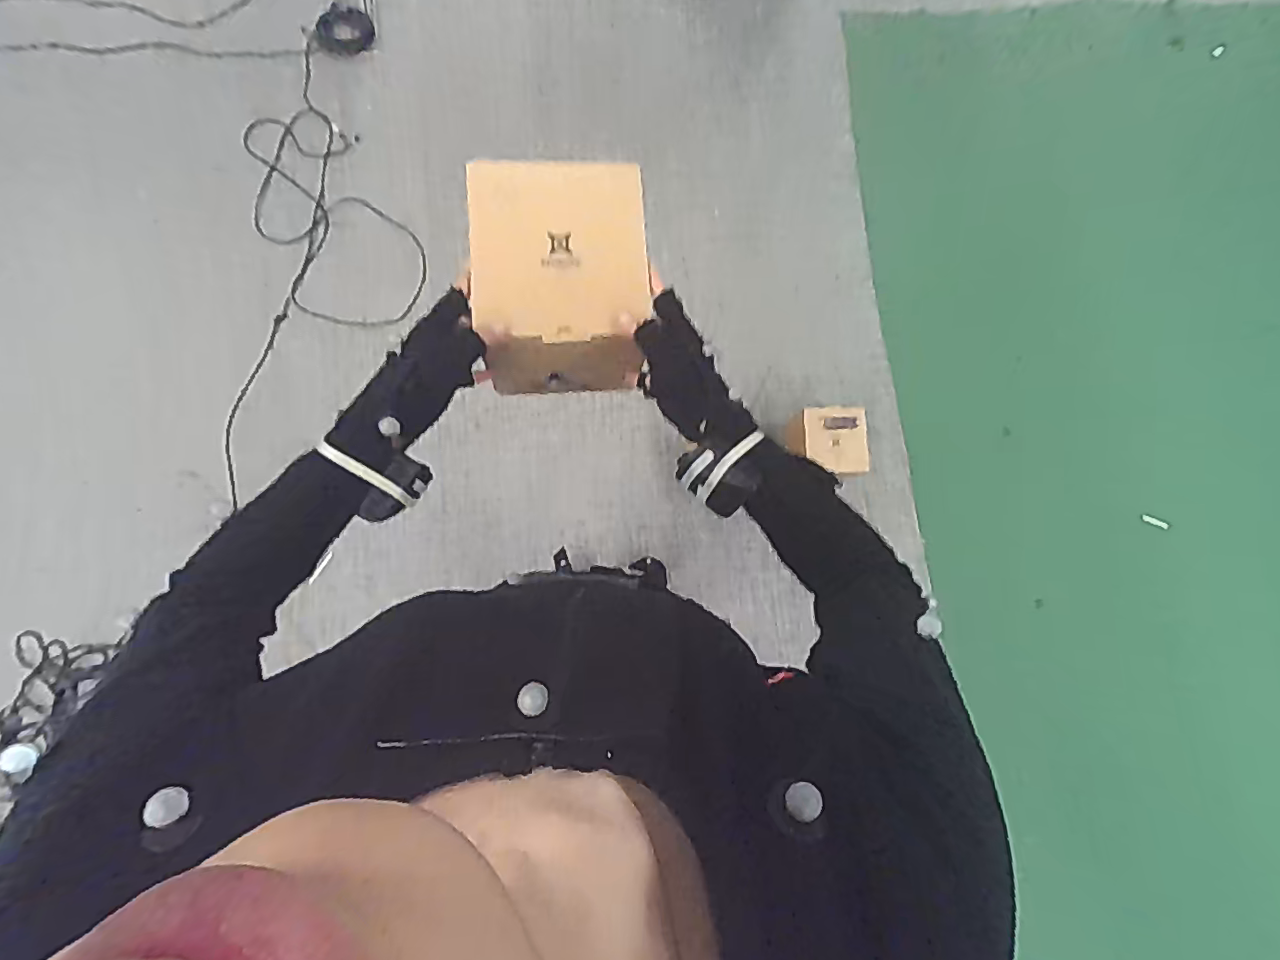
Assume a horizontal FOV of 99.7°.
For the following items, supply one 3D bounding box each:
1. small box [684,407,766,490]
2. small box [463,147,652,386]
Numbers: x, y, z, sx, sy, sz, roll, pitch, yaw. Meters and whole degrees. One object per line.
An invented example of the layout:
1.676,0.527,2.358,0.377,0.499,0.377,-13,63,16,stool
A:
0.222,-0.076,1.455,0.168,0.176,0.179,-14,81,-4,small box
-0.086,-0.211,0.570,0.168,0.176,0.179,-4,84,-8,small box
